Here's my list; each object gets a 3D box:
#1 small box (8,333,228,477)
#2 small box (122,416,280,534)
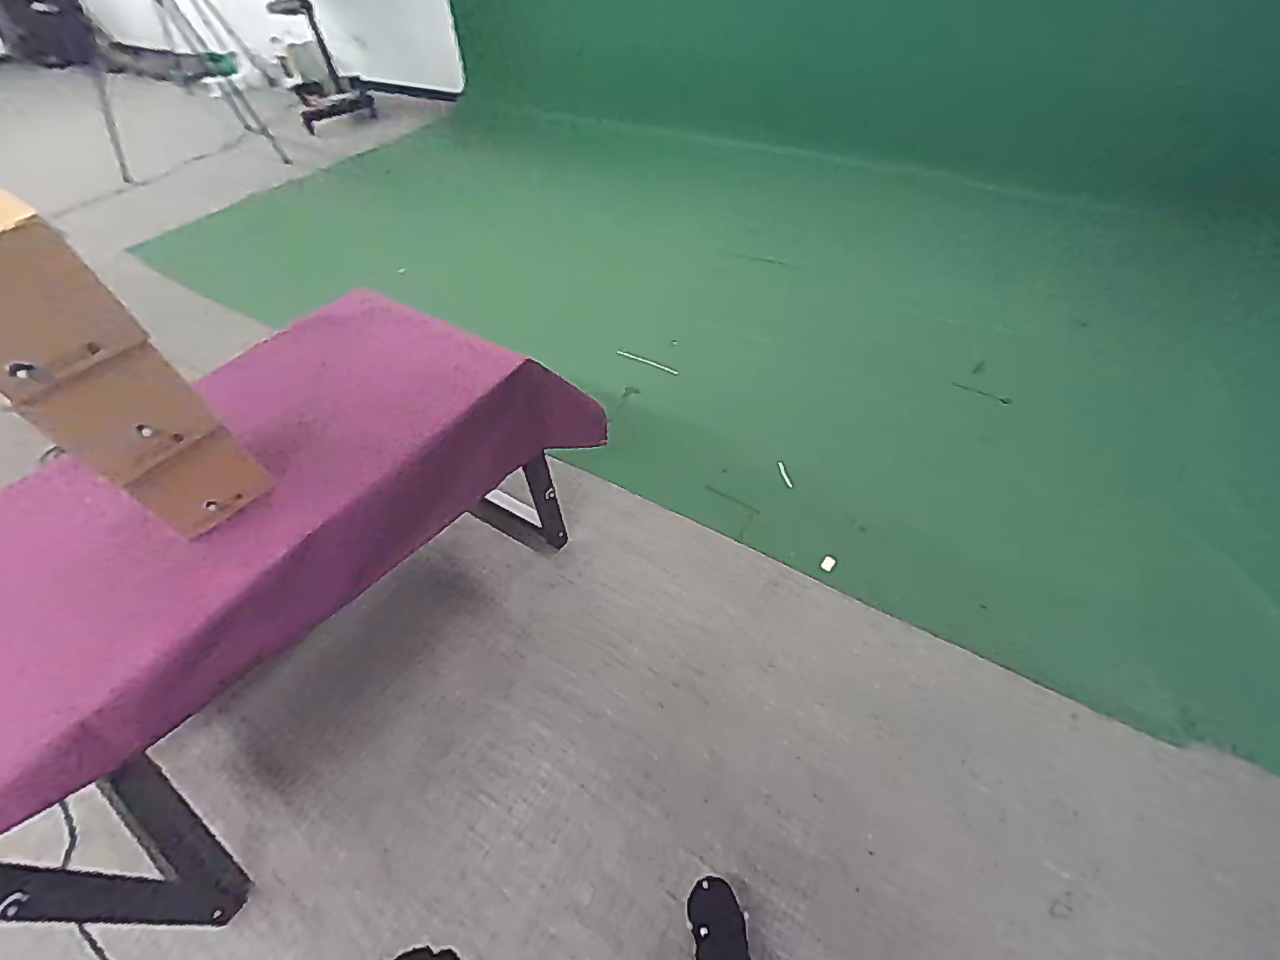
[{"bbox_3d":[-0.782,-0.133,0.810,0.179,0.176,0.168,28,58,24],"label":"small box"},{"bbox_3d":[-0.784,-0.036,0.943,0.179,0.176,0.168,30,58,25],"label":"small box"}]
